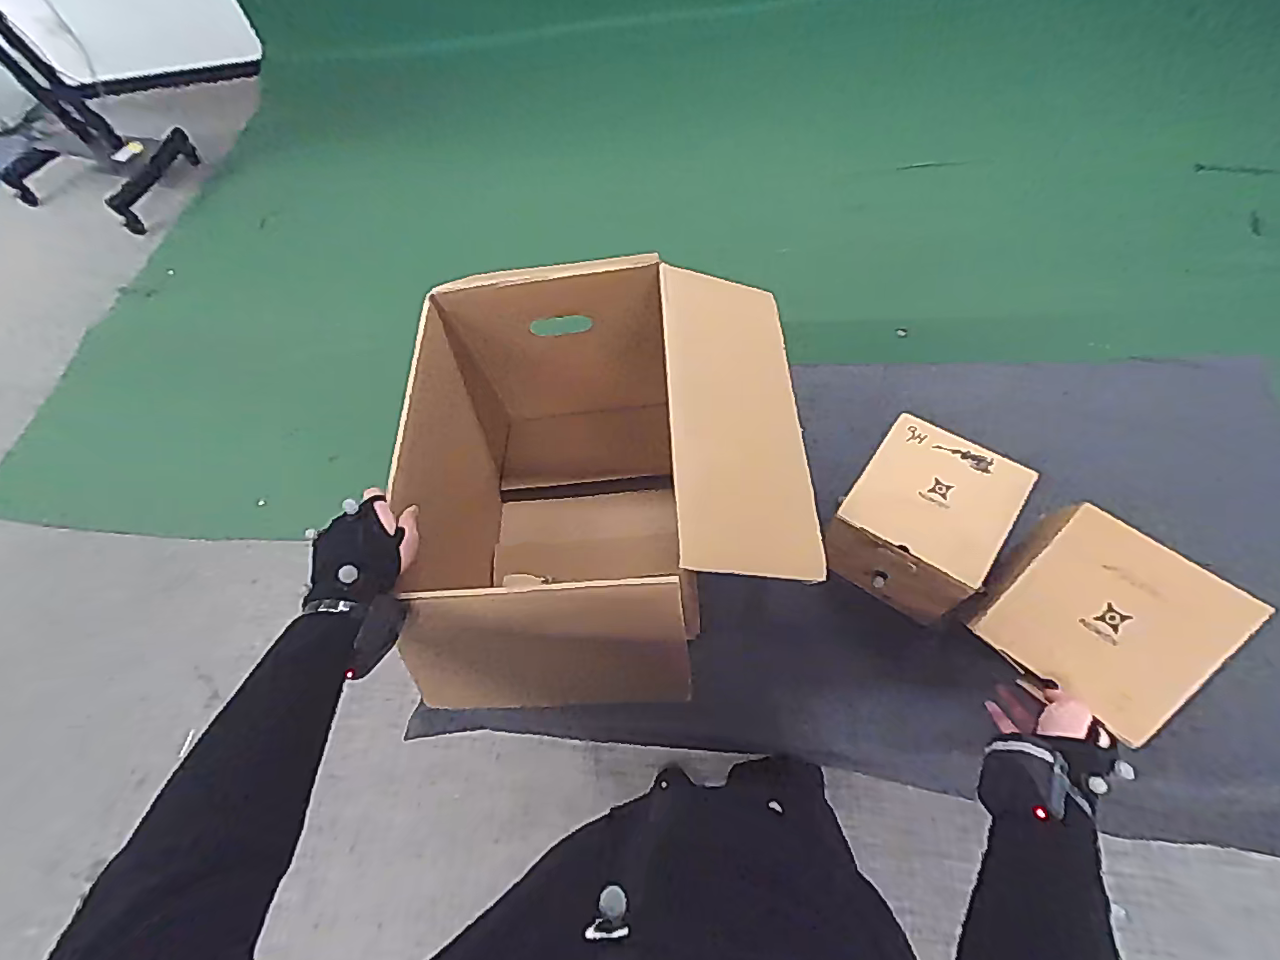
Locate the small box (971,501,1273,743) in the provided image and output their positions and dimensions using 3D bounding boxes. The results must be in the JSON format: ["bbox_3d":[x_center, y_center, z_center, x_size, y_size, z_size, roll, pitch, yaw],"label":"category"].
[{"bbox_3d":[0.499,0.146,0.601,0.168,0.176,0.179,38,99,25],"label":"small box"}]
